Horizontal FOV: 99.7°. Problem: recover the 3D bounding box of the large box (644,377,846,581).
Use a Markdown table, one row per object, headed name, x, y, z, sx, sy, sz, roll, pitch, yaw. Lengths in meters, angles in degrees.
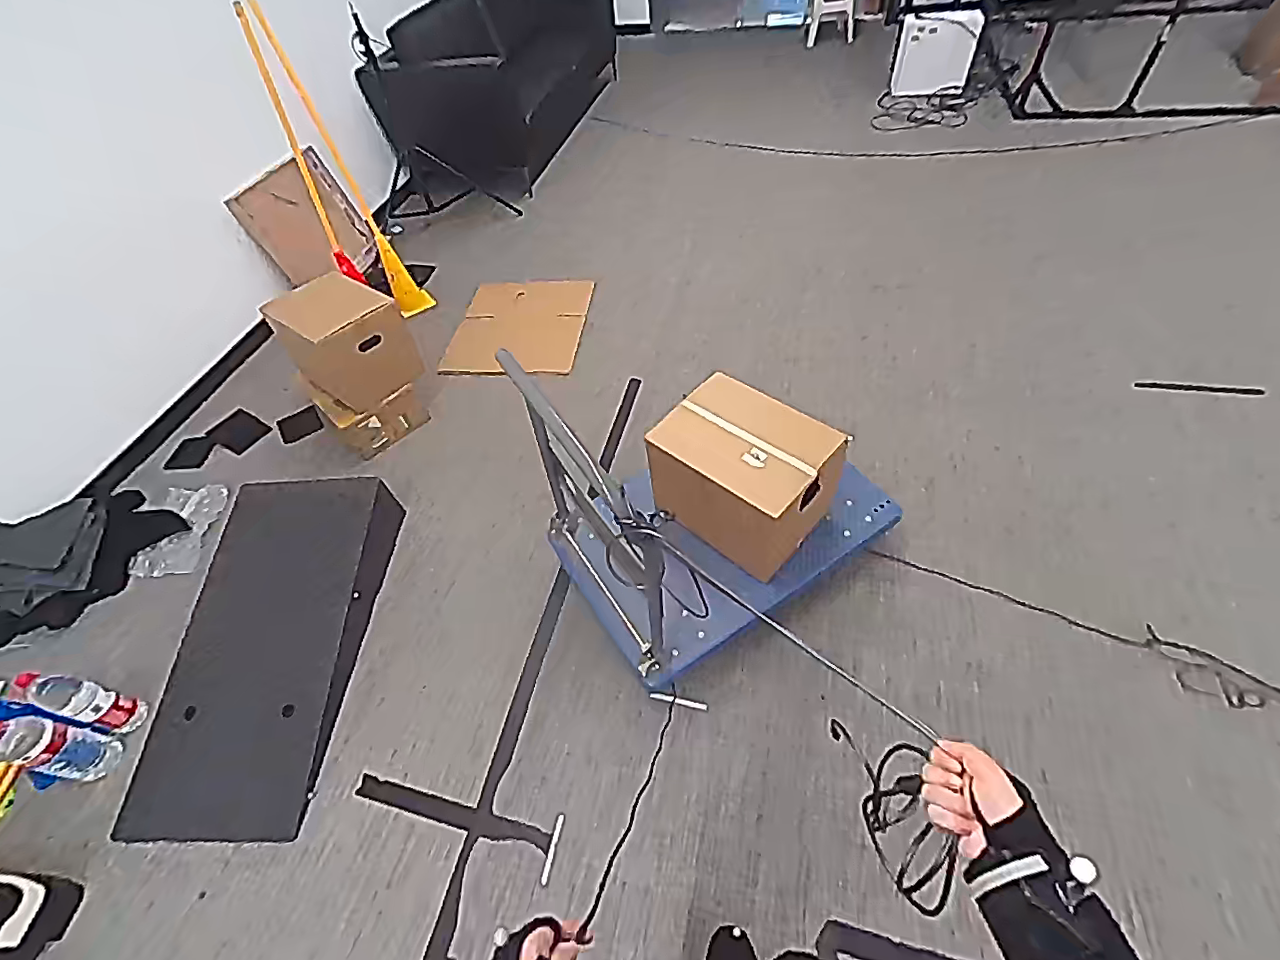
| name | x | y | z | sx | sy | sz | roll | pitch | yaw |
| --- | --- | --- | --- | --- | --- | --- | --- | --- | --- |
| large box | 0.266 | -0.008 | 1.455 | 0.408 | 0.320 | 0.320 | 33 | 63 | 28 |
